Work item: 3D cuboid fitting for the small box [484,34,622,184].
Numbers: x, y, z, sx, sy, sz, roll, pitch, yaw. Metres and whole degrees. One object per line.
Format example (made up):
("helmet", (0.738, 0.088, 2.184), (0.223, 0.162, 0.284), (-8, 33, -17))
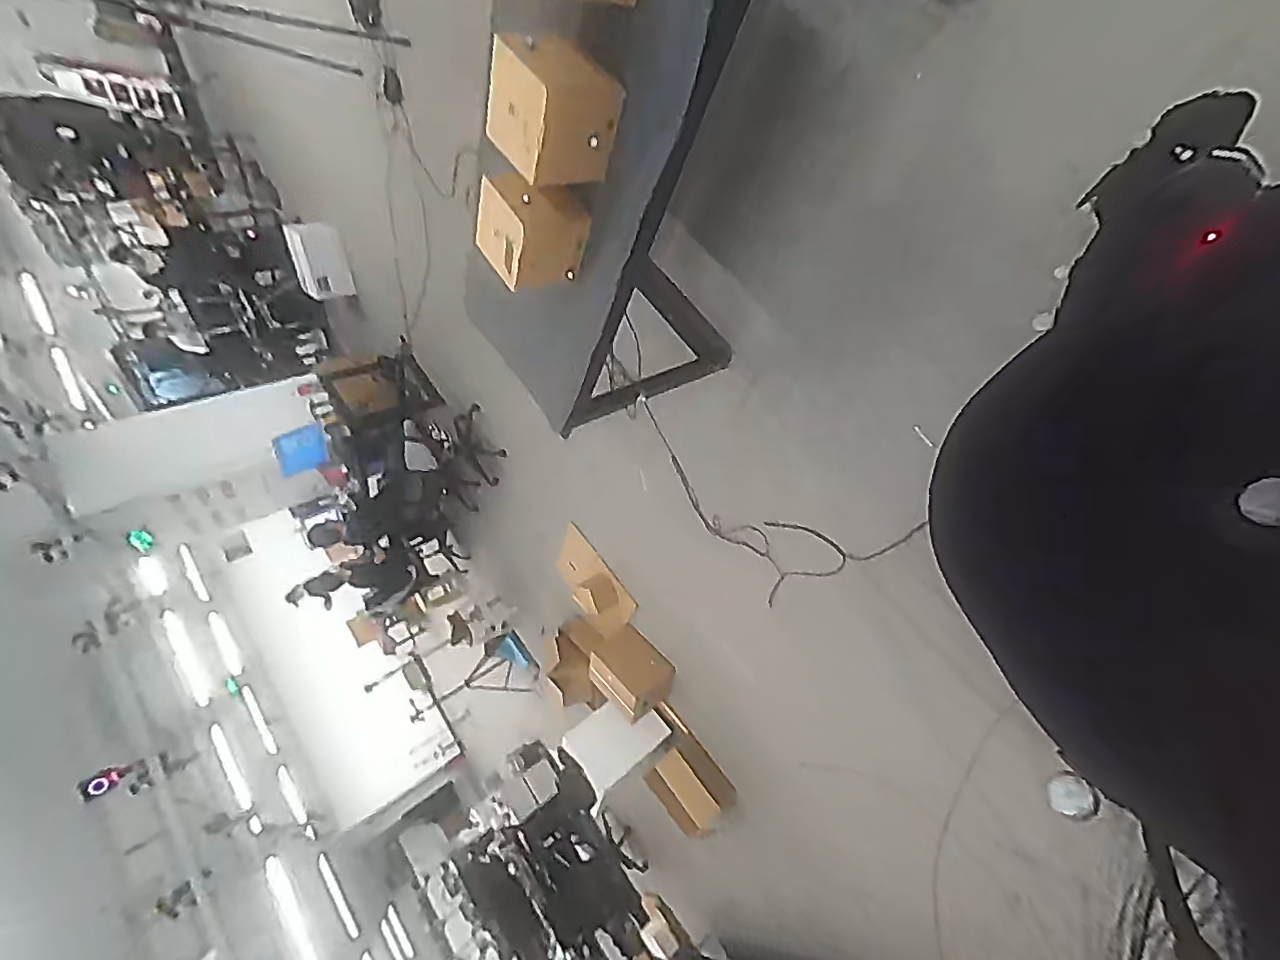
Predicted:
("small box", (-0.163, -0.673, 0.993), (0.179, 0.176, 0.168), (52, 144, 17))

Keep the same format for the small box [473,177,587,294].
("small box", (-0.240, -0.542, 1.182), (0.179, 0.176, 0.168), (54, 144, 16))
